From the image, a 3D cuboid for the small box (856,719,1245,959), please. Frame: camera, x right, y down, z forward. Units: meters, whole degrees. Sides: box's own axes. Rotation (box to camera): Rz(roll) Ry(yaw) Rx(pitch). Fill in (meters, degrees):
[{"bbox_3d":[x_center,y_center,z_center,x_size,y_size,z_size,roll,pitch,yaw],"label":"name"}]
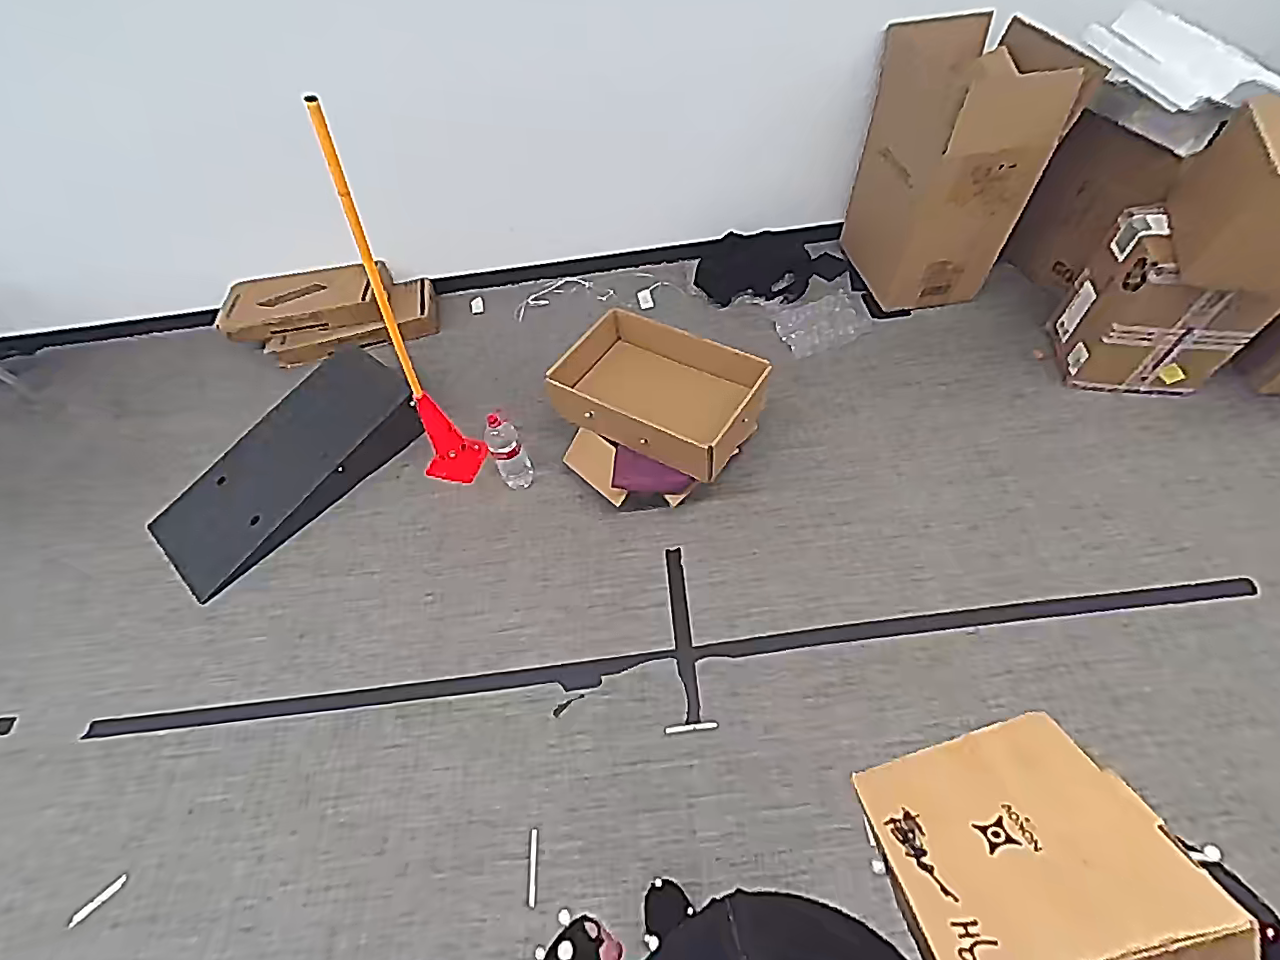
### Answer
[{"bbox_3d":[0.303,0.334,0.428,0.179,0.176,0.168,-21,18,6],"label":"small box"}]
